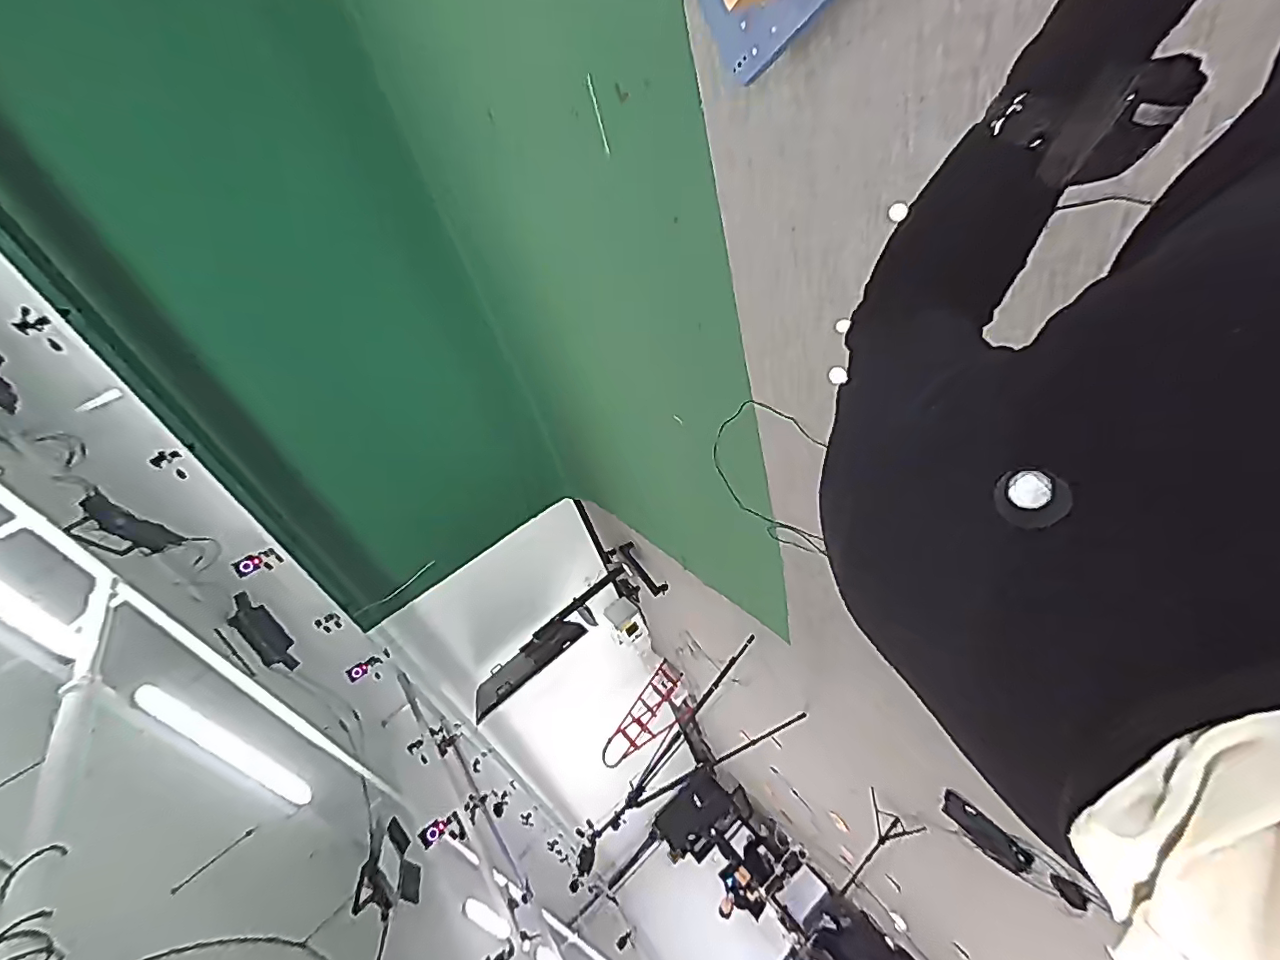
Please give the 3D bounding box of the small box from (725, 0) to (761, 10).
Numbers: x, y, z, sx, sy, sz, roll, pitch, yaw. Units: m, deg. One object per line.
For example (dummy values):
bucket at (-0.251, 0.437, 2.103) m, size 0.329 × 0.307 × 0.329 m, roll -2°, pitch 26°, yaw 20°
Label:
small box at (0.273, -1.240, 1.233) m, size 0.168 × 0.176 × 0.179 m, roll 59°, pitch 158°, yaw -11°
